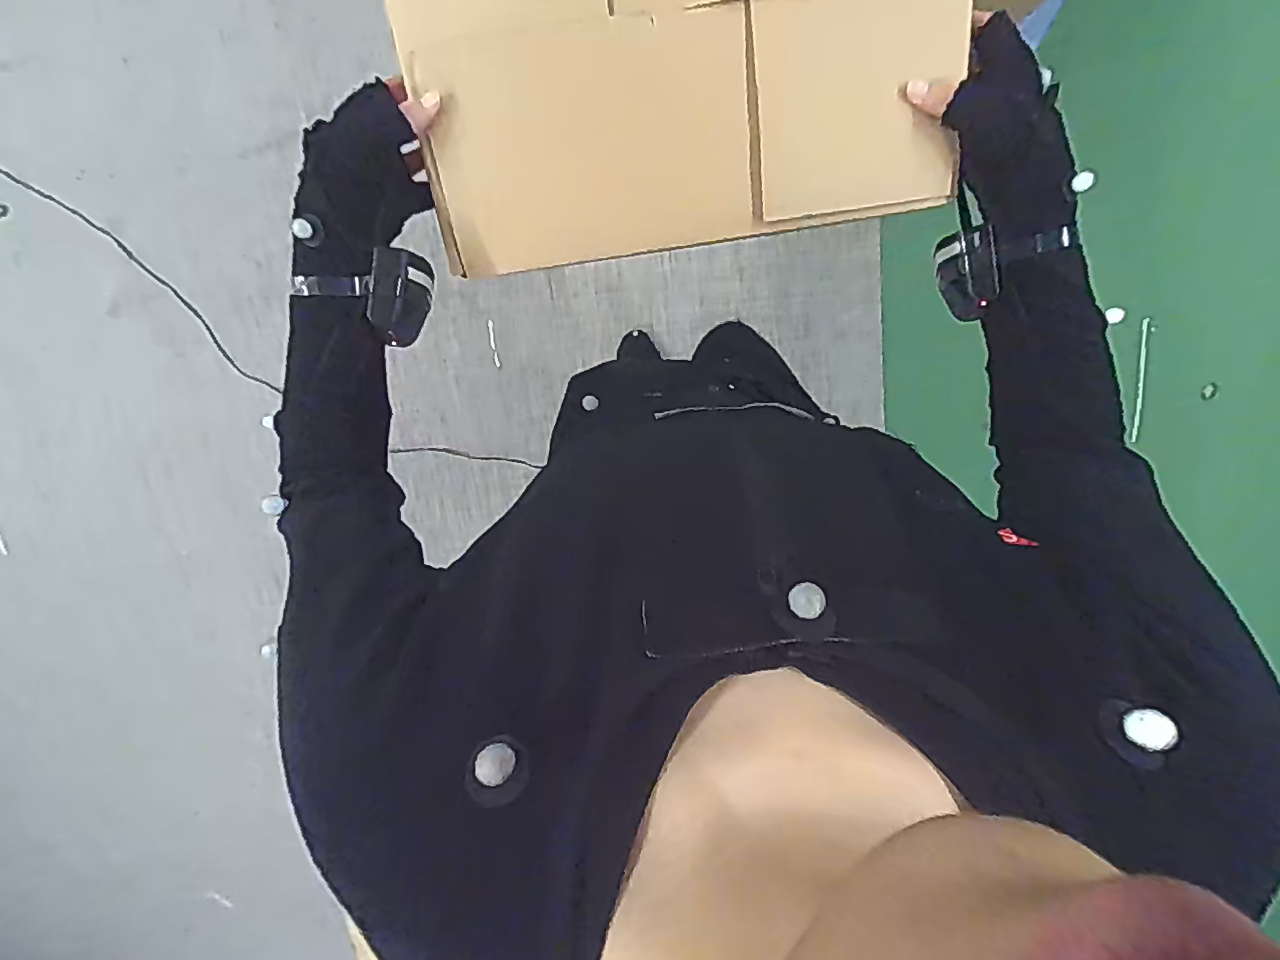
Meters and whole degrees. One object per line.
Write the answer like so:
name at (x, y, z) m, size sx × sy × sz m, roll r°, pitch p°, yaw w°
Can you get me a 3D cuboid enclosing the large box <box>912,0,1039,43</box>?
large box at (0.574, -1.036, 0.872) m, size 0.408 × 0.320 × 0.320 m, roll 28°, pitch 102°, yaw -5°
